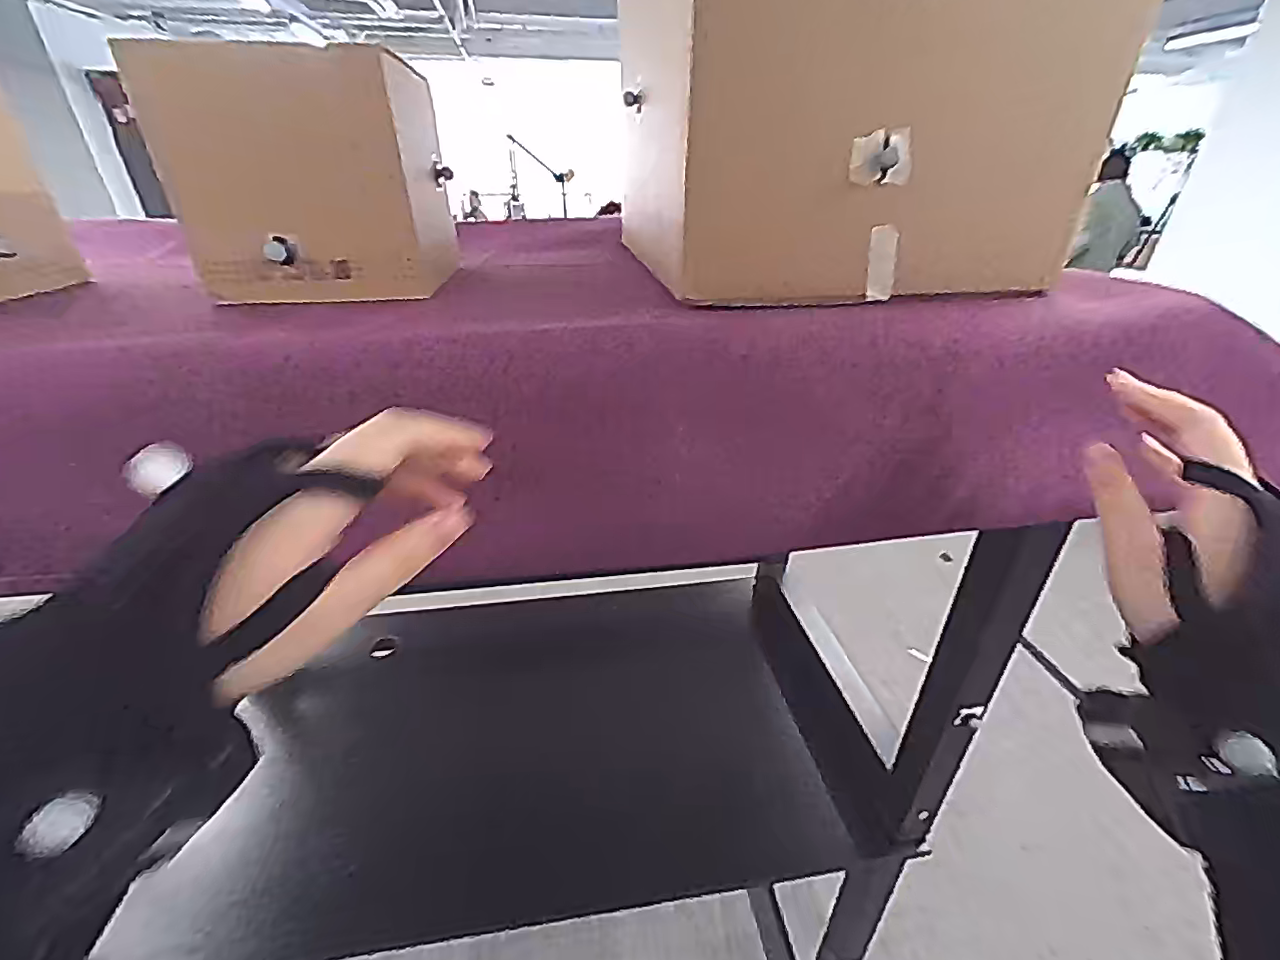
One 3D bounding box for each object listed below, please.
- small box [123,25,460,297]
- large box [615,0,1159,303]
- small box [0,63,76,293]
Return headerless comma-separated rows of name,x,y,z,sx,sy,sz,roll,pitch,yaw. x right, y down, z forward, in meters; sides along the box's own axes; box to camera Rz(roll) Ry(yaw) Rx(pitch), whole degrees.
small box,-0.258,-0.258,0.461,0.168,0.176,0.179,-4,30,-6
large box,0.155,-0.364,0.506,0.320,0.320,0.408,-4,29,-7
small box,-0.576,-0.217,0.386,0.168,0.176,0.179,-5,29,-8
